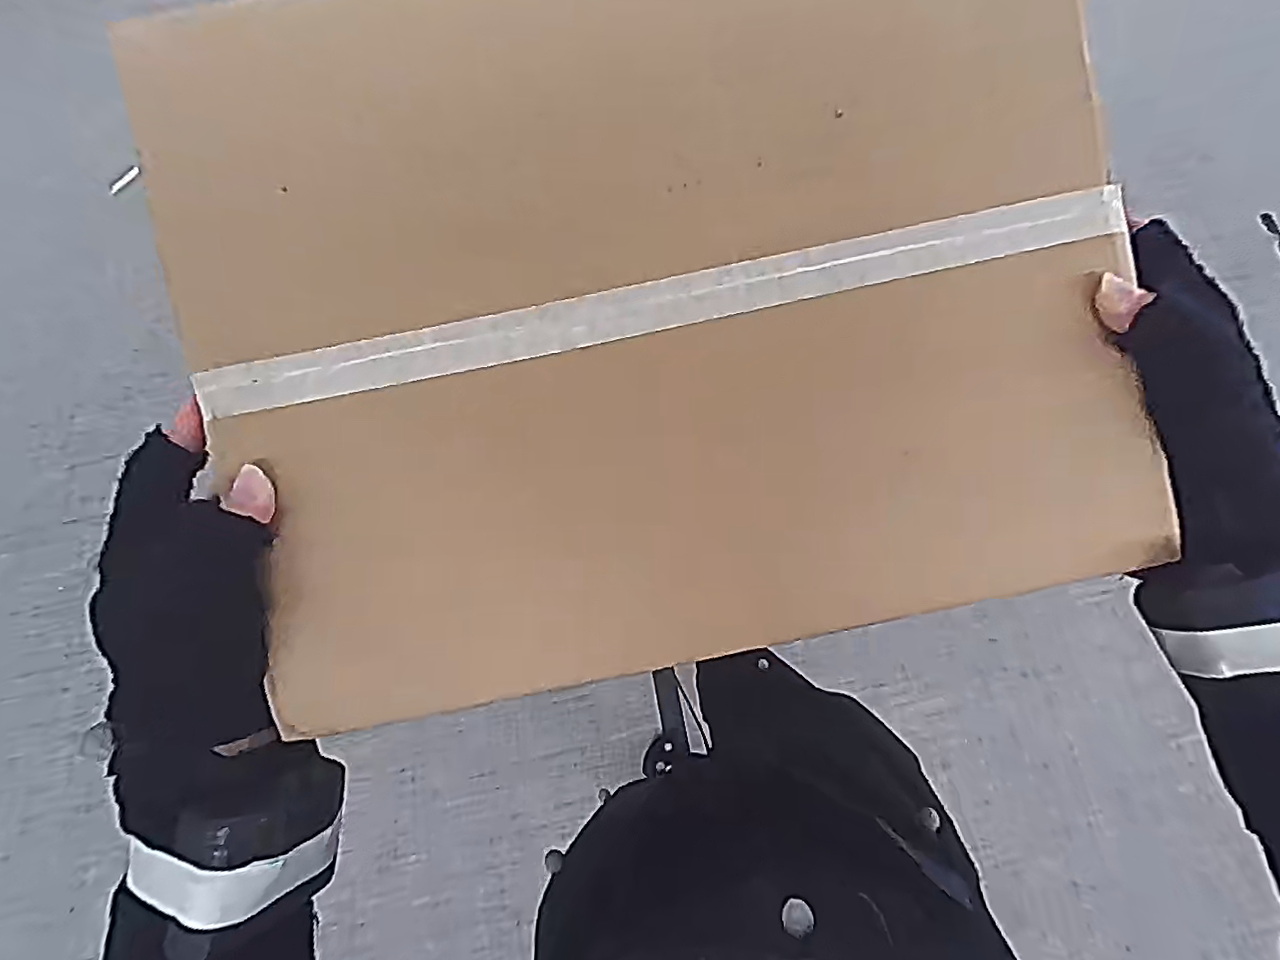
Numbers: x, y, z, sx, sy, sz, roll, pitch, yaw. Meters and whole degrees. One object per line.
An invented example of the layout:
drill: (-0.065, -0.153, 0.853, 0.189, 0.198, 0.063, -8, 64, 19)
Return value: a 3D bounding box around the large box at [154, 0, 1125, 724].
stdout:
large box: (0.007, -0.082, 0.395, 0.408, 0.320, 0.320, -11, 92, 0)
